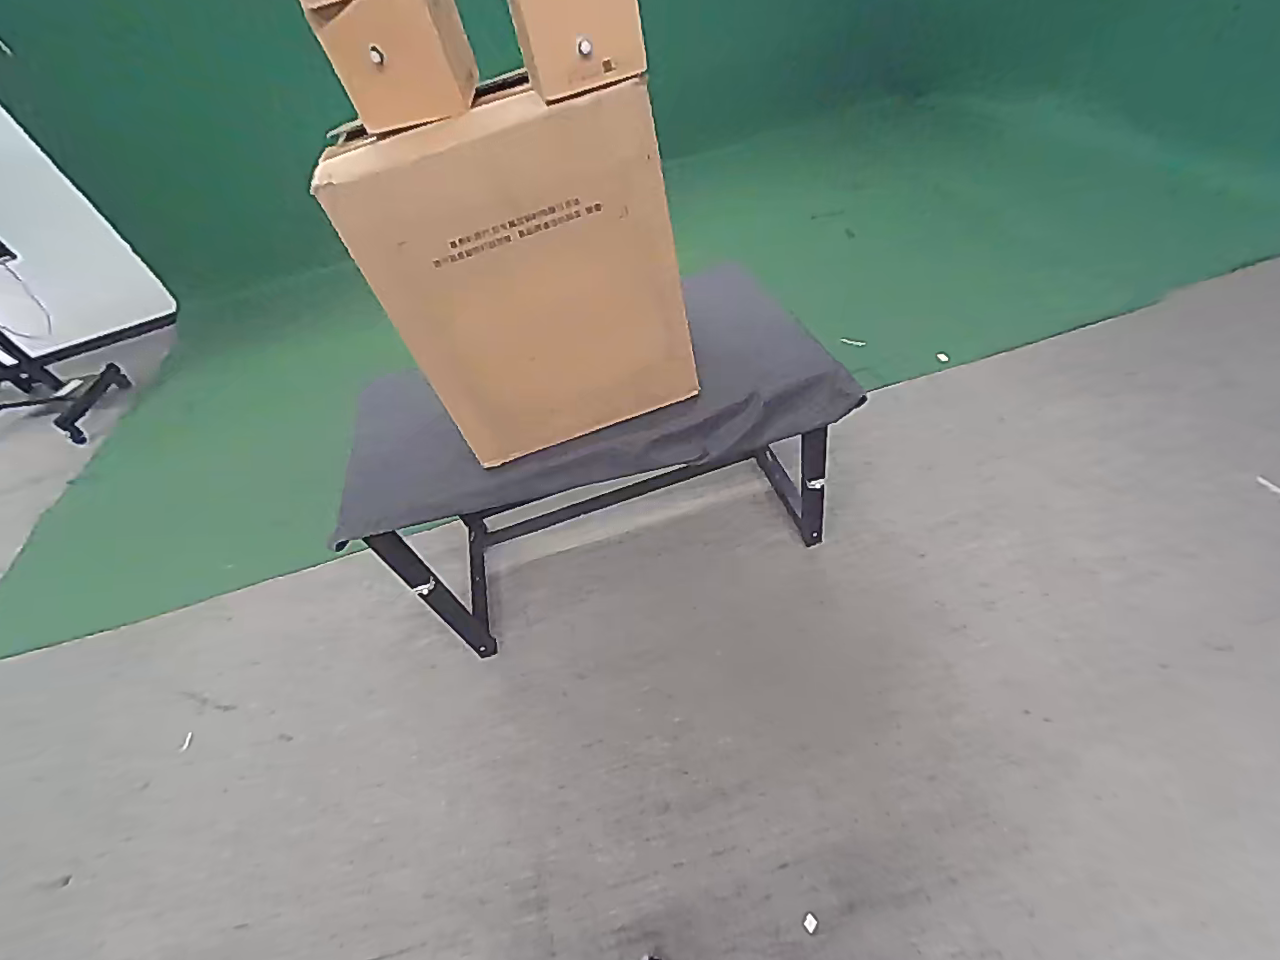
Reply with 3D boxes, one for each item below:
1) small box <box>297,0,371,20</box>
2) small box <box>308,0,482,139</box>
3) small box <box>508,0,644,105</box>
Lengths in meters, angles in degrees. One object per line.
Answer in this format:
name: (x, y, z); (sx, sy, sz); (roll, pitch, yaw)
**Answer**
small box: (-0.425, -0.770, 0.742); (0.179, 0.176, 0.168); (-23, 55, -5)
small box: (-0.380, -0.682, 0.871); (0.179, 0.176, 0.168); (-9, 55, 7)
small box: (-0.104, -0.696, 0.822); (0.168, 0.176, 0.179); (-19, 47, -3)
